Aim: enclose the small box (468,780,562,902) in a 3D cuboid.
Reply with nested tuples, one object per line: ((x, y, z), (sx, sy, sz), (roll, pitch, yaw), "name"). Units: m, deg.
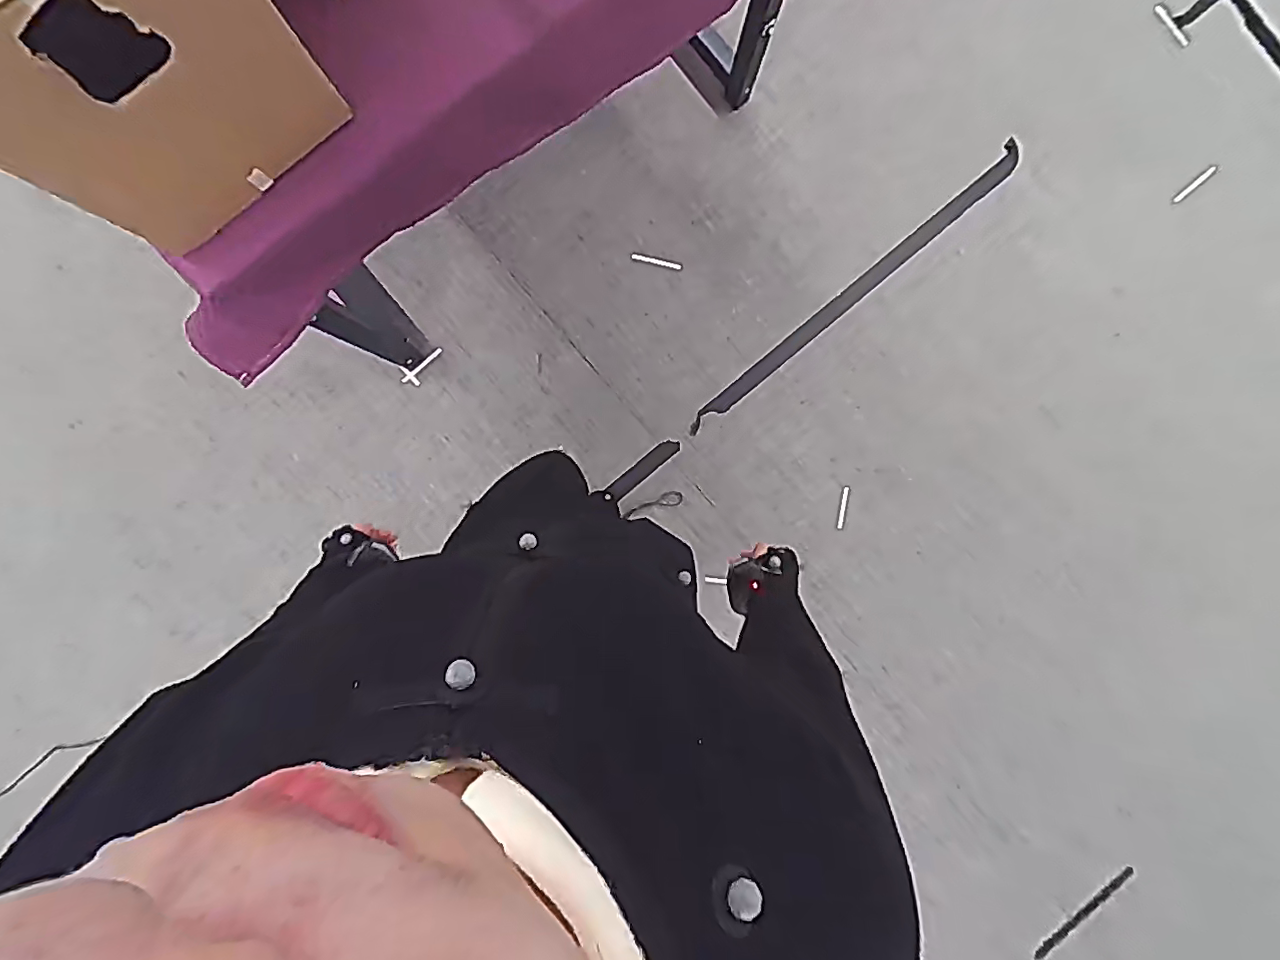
((-0.322, 0.949, 1.442), (0.179, 0.176, 0.168), (-35, 93, 0), "small box")
